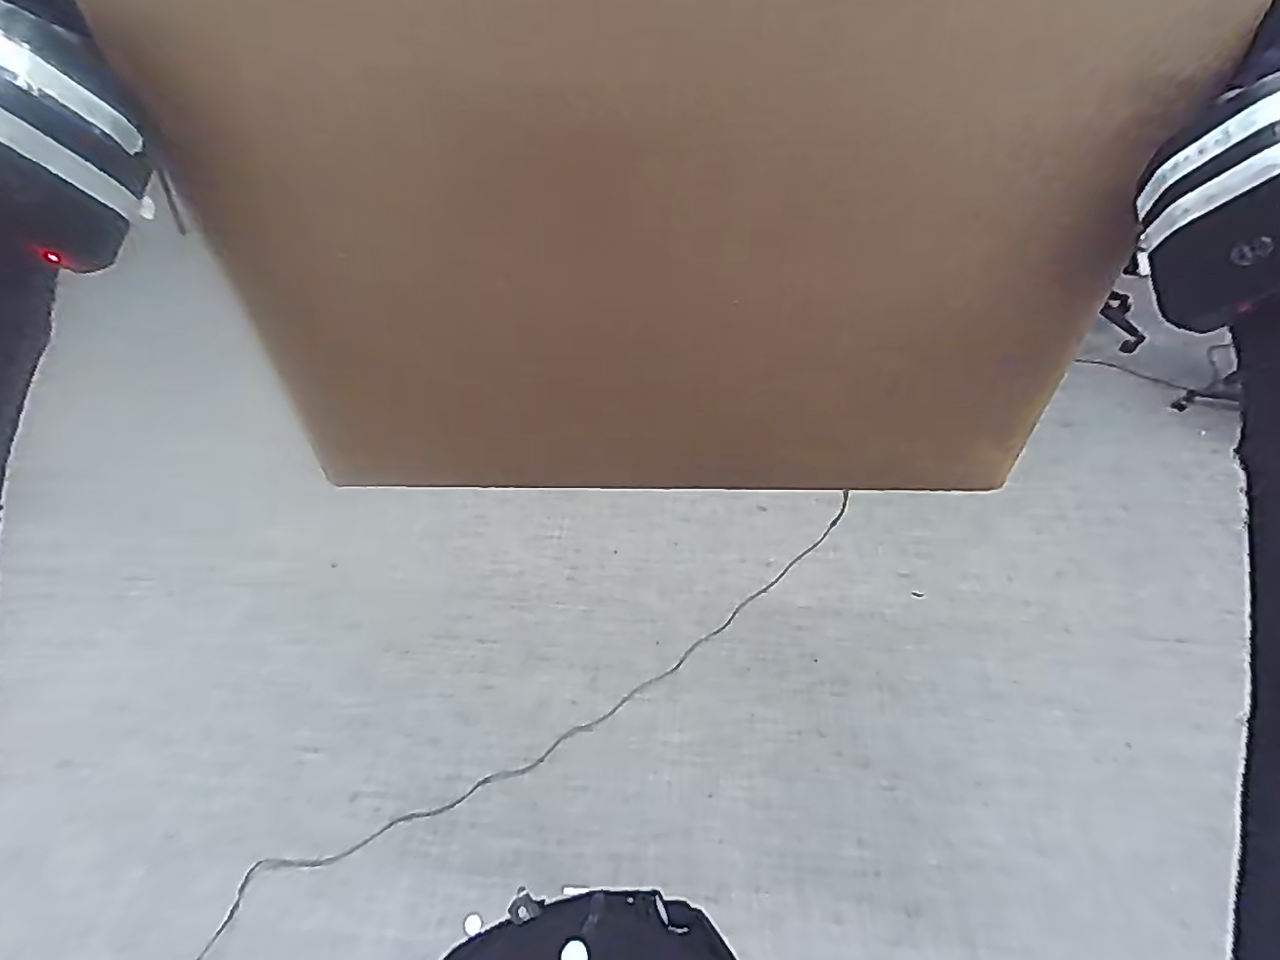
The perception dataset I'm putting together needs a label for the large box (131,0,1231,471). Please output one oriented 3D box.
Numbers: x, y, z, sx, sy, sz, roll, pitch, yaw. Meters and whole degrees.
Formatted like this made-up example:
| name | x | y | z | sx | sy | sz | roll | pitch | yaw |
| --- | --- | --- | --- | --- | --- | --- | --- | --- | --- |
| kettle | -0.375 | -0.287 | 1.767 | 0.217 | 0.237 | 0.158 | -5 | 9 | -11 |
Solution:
| name | x | y | z | sx | sy | sz | roll | pitch | yaw |
| --- | --- | --- | --- | --- | --- | --- | --- | --- | --- |
| large box | 0.014 | -0.215 | 0.346 | 0.408 | 0.320 | 0.320 | 1 | 41 | 1 |
